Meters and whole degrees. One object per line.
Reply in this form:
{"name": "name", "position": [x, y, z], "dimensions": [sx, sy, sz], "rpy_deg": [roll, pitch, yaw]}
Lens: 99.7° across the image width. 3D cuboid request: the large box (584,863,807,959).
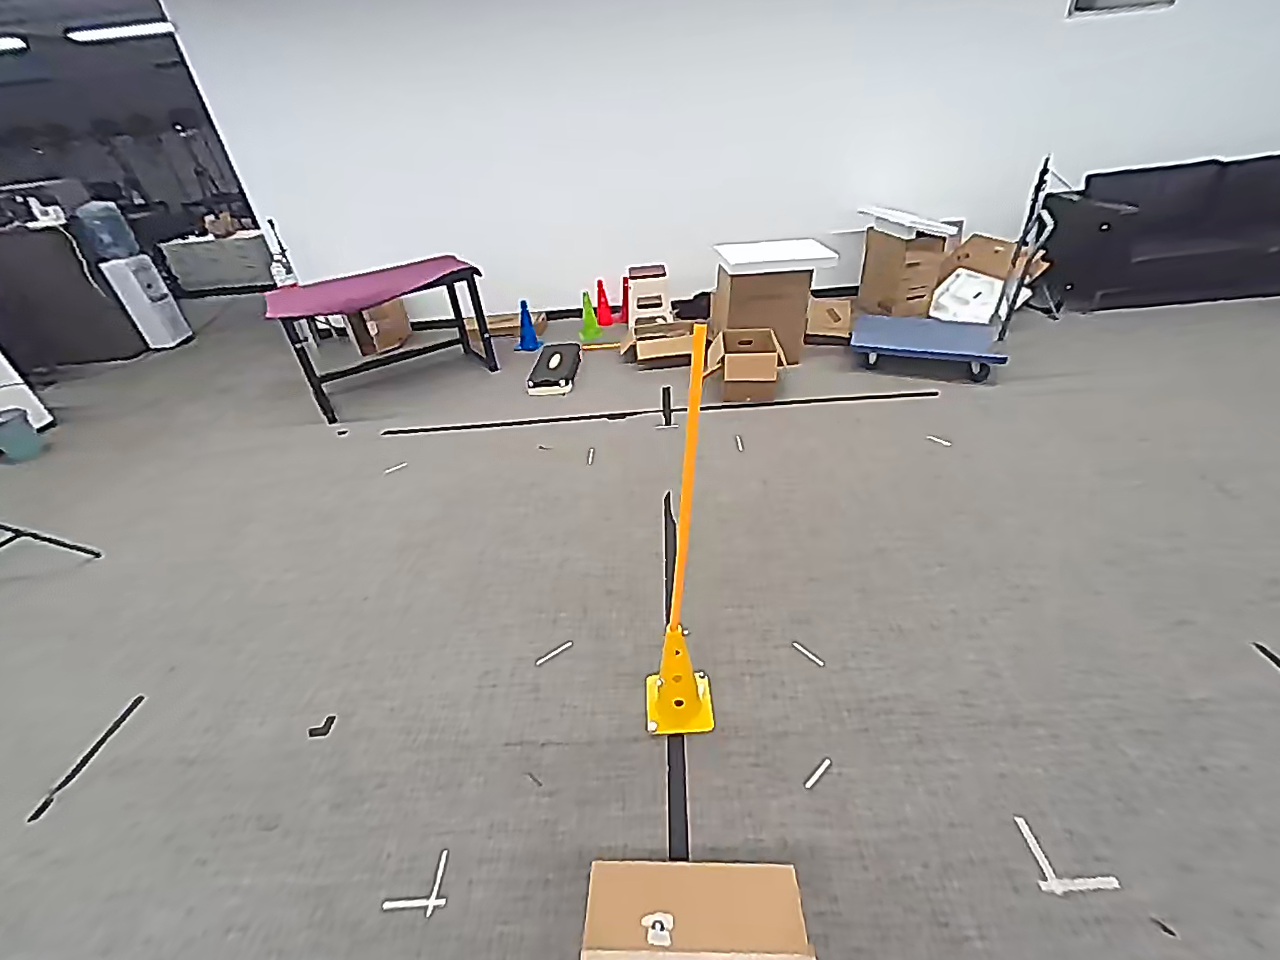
{"name": "large box", "position": [0.108, 0.978, 1.032], "dimensions": [0.408, 0.320, 0.320], "rpy_deg": [-3, 31, 3]}
